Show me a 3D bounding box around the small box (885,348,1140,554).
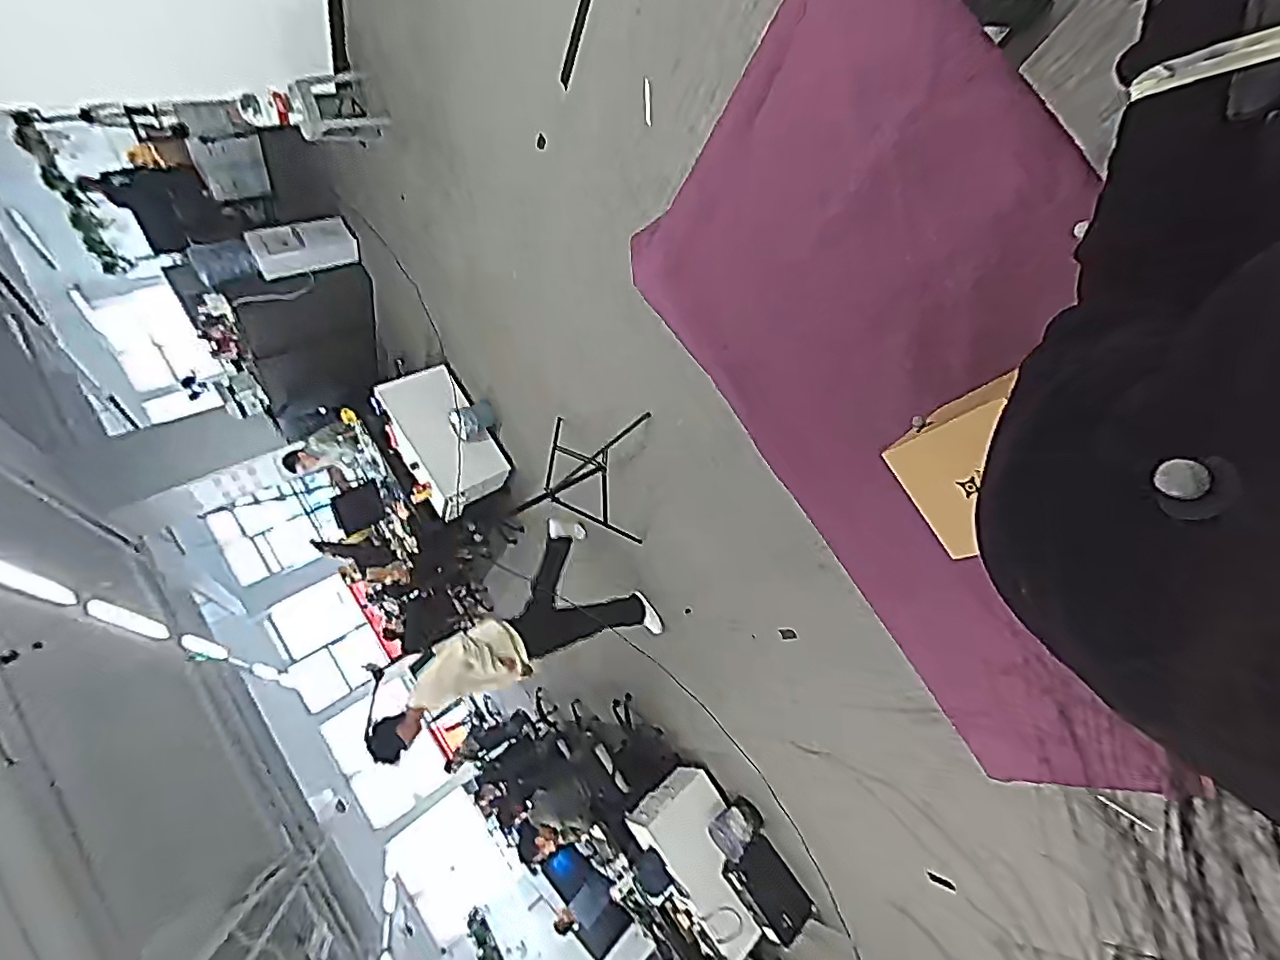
[{"bbox_3d":[0.456,-0.033,0.671,0.168,0.176,0.179,57,150,4],"label":"small box"}]
